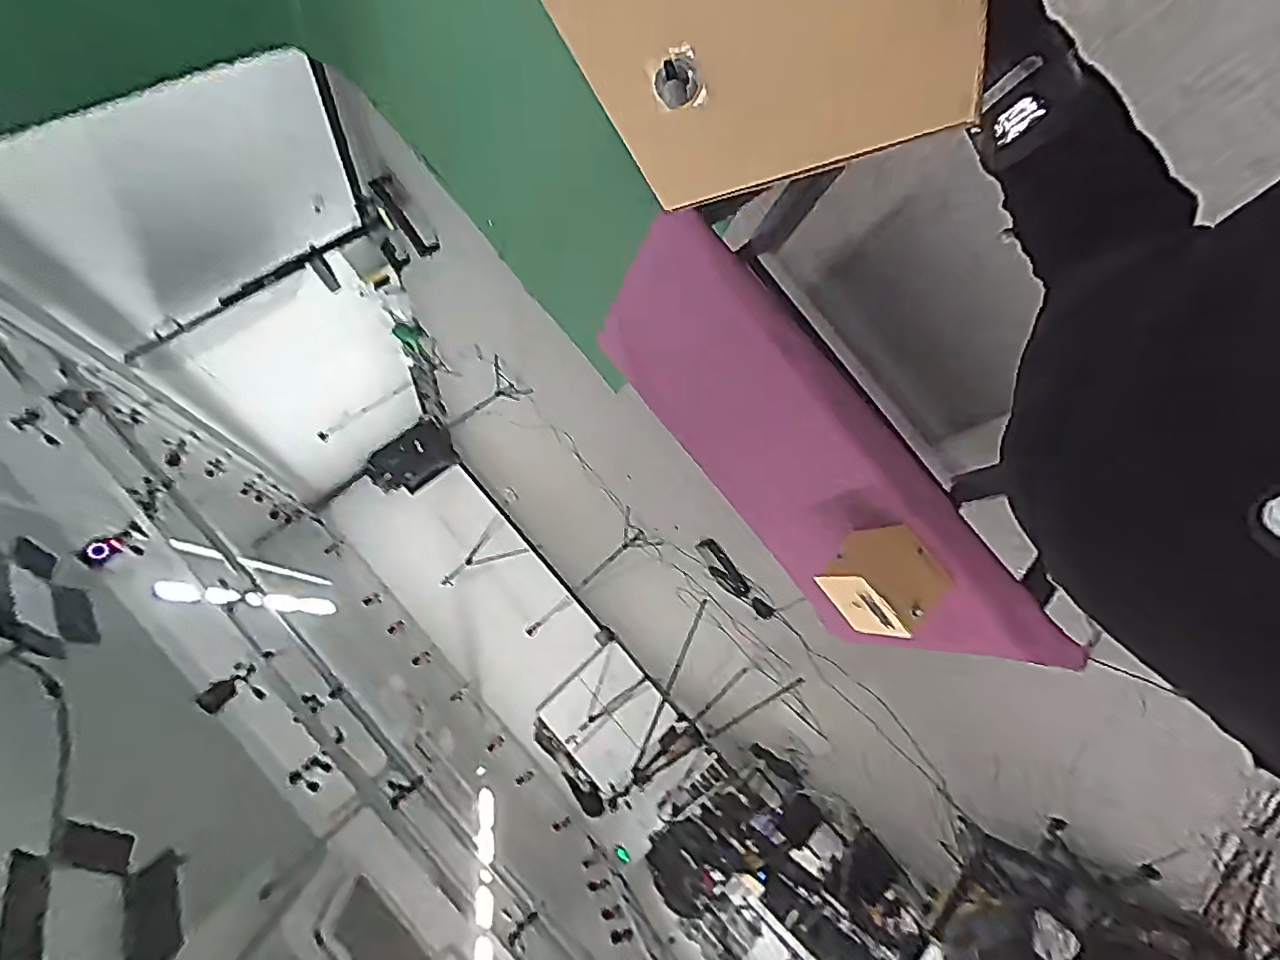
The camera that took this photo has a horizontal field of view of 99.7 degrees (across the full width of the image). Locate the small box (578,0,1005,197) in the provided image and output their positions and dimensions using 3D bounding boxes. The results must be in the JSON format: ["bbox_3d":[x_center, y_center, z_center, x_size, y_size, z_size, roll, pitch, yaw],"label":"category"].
[{"bbox_3d":[0.068,-0.282,0.257,0.179,0.168,0.176,-1,160,30],"label":"small box"}]
